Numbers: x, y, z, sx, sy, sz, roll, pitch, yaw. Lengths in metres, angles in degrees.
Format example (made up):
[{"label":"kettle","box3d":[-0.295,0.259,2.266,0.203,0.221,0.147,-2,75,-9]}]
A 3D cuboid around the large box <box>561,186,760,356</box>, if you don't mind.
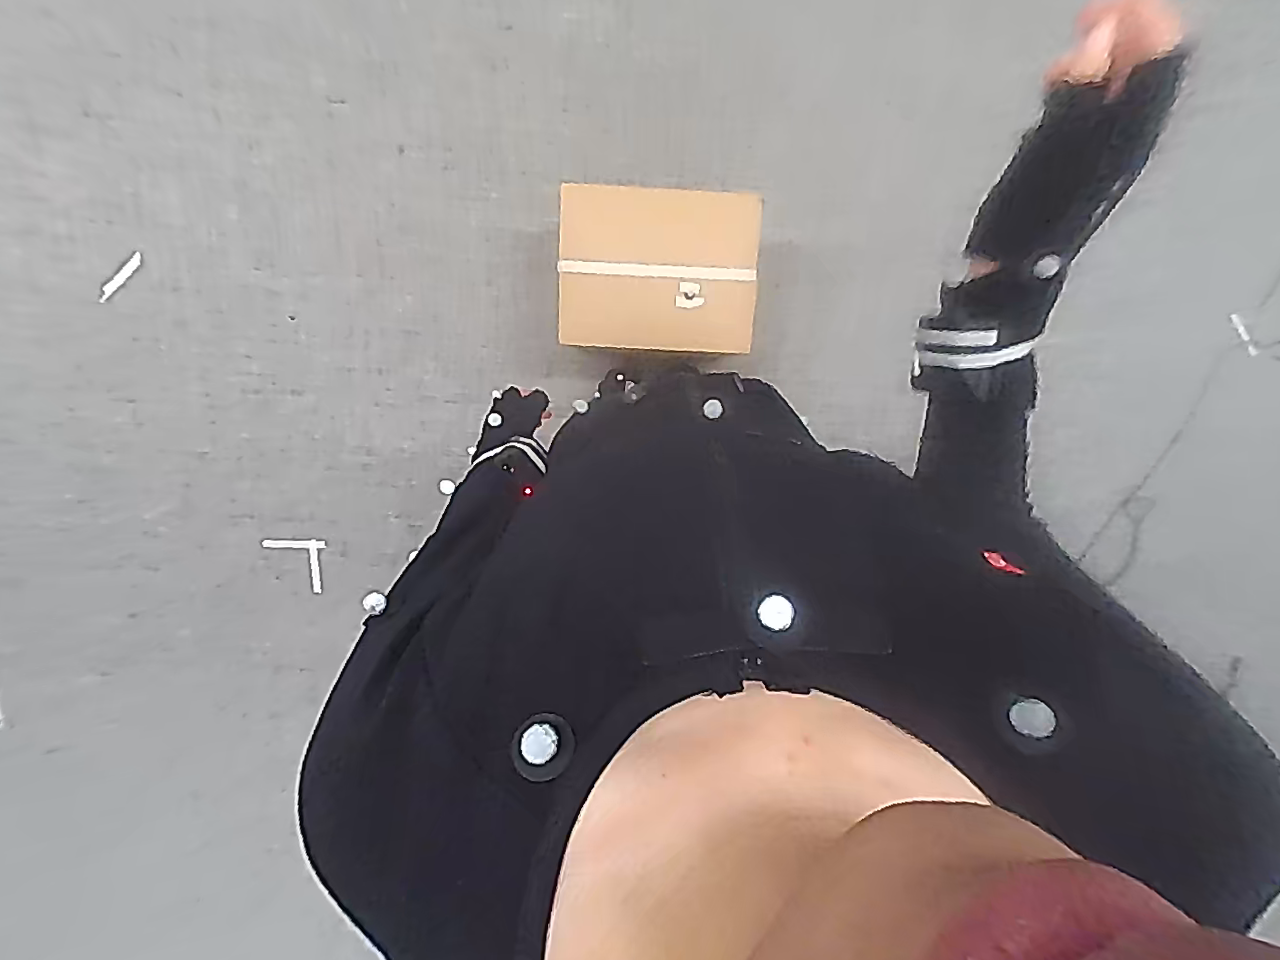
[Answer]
[{"label":"large box","box3d":[0.033,-0.454,1.249,0.408,0.320,0.320,2,102,-2]}]
